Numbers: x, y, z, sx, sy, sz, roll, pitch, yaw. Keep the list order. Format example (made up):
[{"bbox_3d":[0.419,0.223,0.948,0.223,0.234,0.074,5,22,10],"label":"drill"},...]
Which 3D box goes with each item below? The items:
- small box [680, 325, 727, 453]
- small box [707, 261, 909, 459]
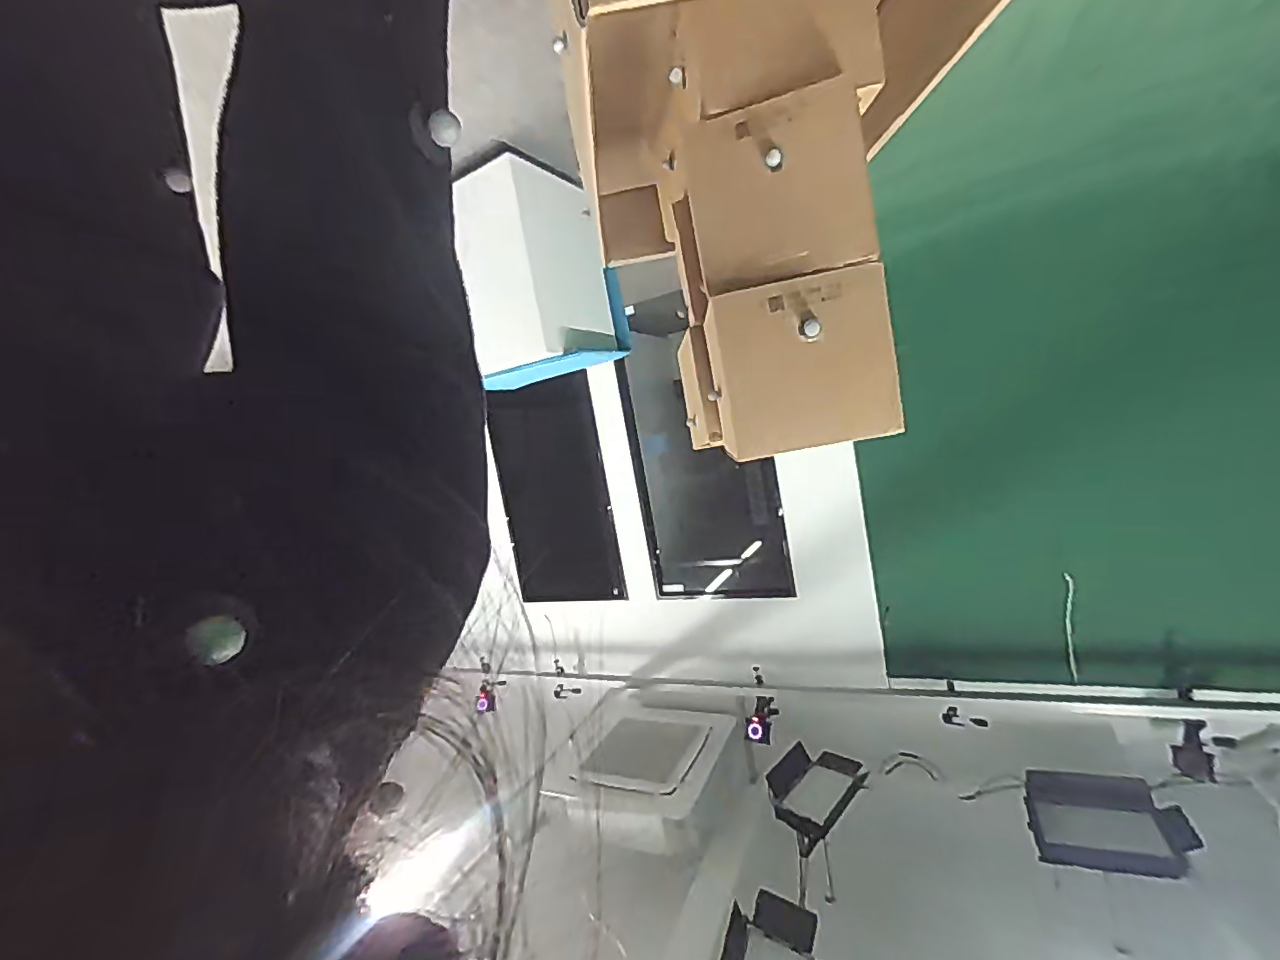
[{"bbox_3d":[0.160,-0.142,0.808,0.168,0.176,0.179,-10,-178,-1],"label":"small box"},{"bbox_3d":[0.172,-0.124,0.601,0.168,0.176,0.179,-11,-176,6],"label":"small box"}]
